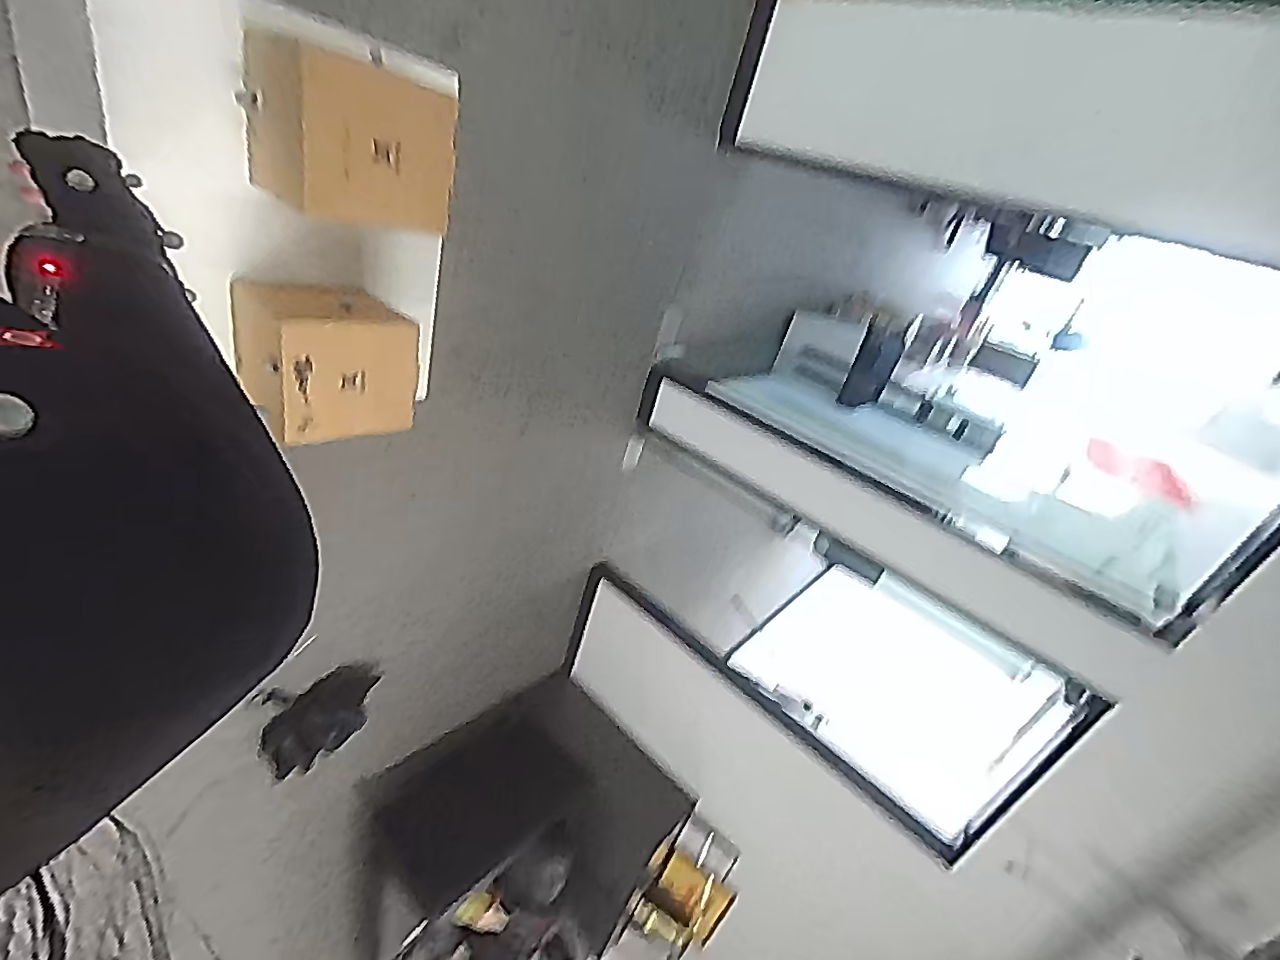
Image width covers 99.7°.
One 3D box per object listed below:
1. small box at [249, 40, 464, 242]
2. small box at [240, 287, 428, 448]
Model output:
[{"bbox_3d":[-0.344,-0.408,0.661,0.179,0.176,0.168,-17,132,-46],"label":"small box"},{"bbox_3d":[-0.430,-0.166,0.767,0.179,0.176,0.168,-18,132,-48],"label":"small box"}]
